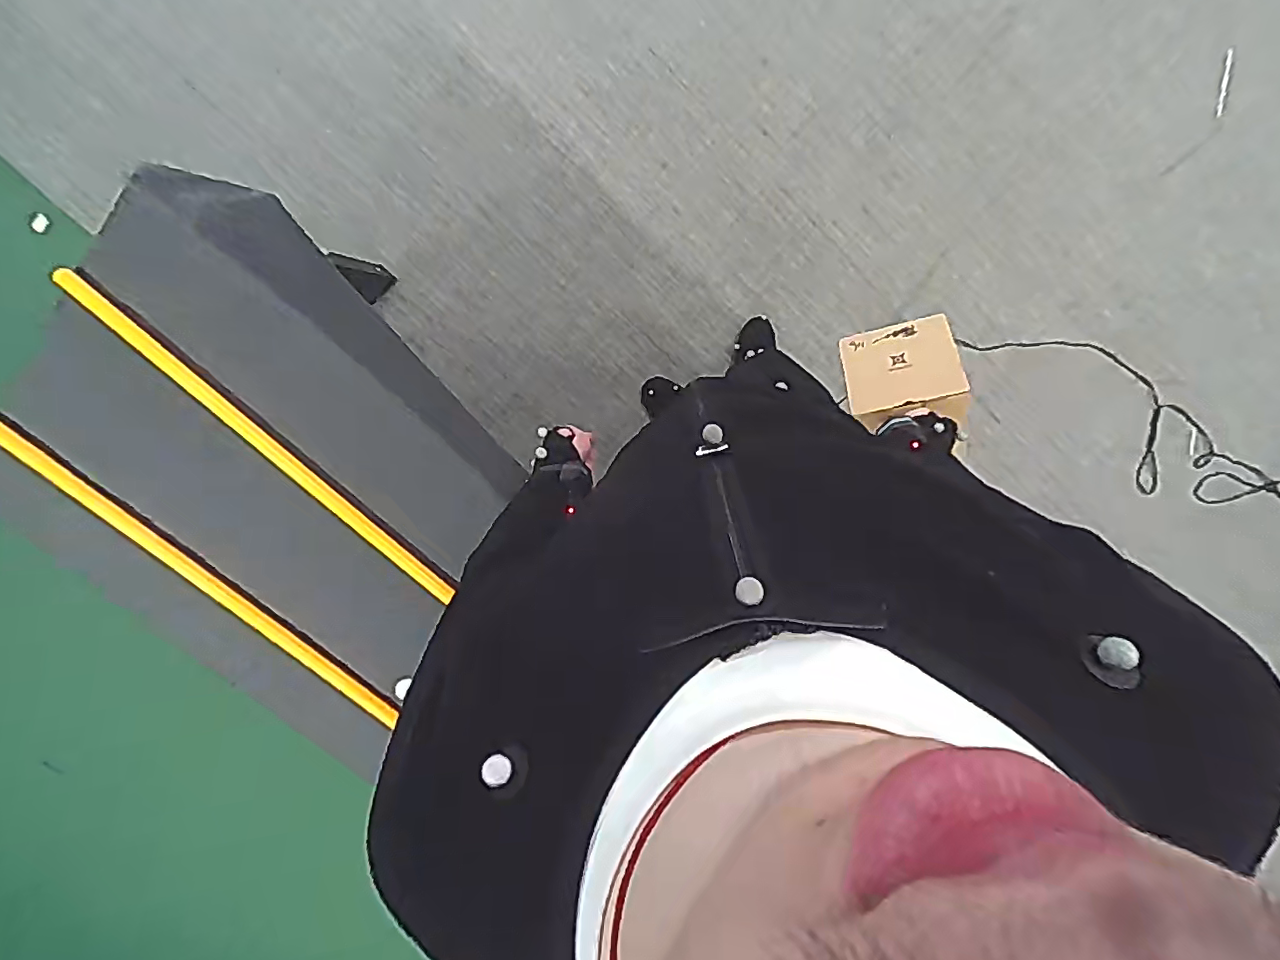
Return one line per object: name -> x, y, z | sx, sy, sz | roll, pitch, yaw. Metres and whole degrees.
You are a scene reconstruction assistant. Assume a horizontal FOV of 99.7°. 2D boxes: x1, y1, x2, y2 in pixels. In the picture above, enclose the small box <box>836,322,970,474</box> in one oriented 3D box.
small box -> 0.446, -0.127, 0.919 | 0.168, 0.179, 0.176 | -15, 140, 22
